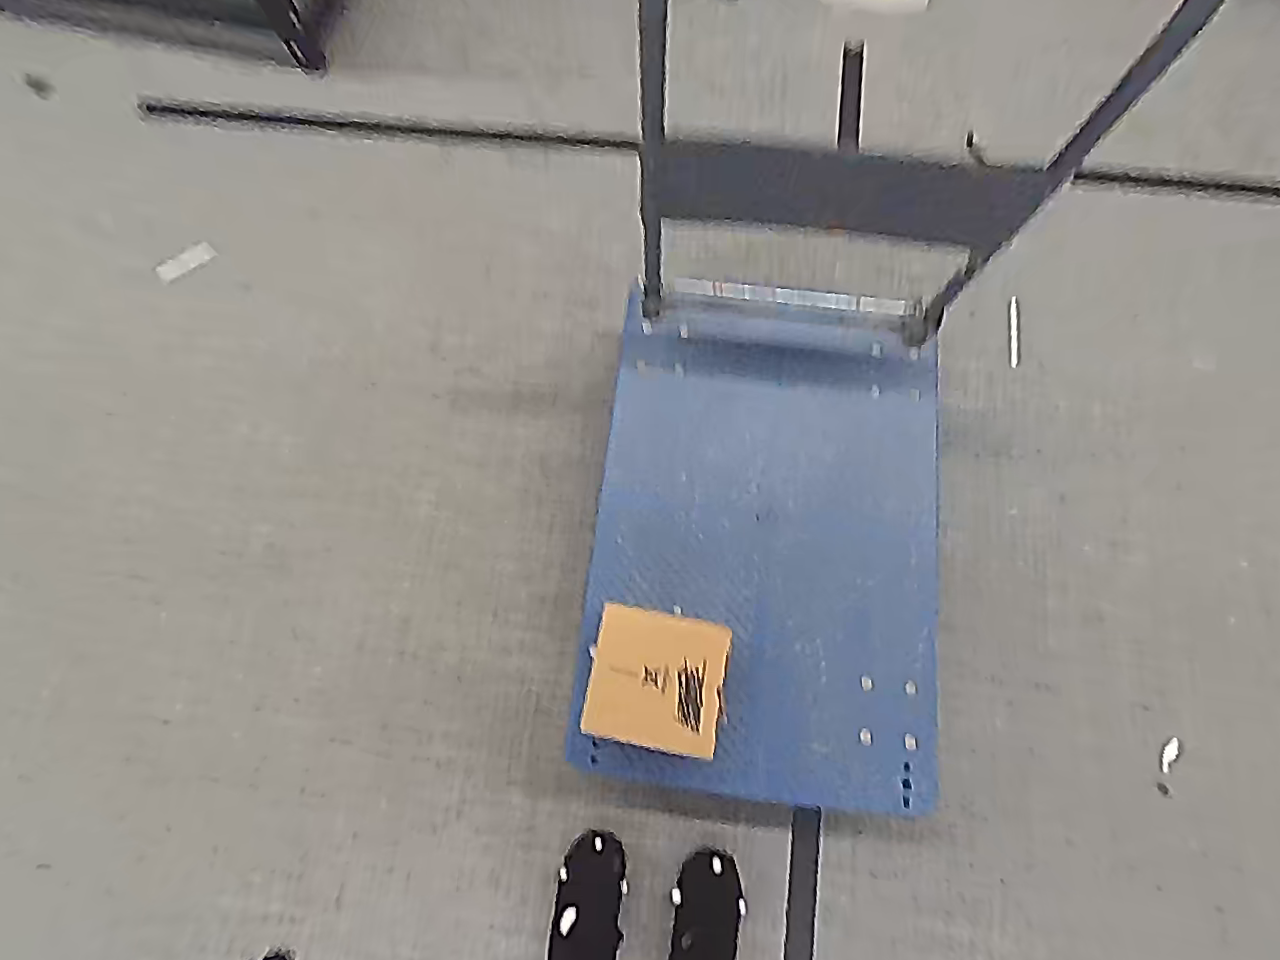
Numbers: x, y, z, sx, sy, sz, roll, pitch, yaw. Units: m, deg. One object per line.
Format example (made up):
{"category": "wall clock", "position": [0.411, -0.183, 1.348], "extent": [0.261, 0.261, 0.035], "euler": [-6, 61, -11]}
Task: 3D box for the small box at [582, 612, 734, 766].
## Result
{"category": "small box", "position": [0.027, 0.289, 0.788], "extent": [0.179, 0.176, 0.168], "euler": [11, 77, 4]}
